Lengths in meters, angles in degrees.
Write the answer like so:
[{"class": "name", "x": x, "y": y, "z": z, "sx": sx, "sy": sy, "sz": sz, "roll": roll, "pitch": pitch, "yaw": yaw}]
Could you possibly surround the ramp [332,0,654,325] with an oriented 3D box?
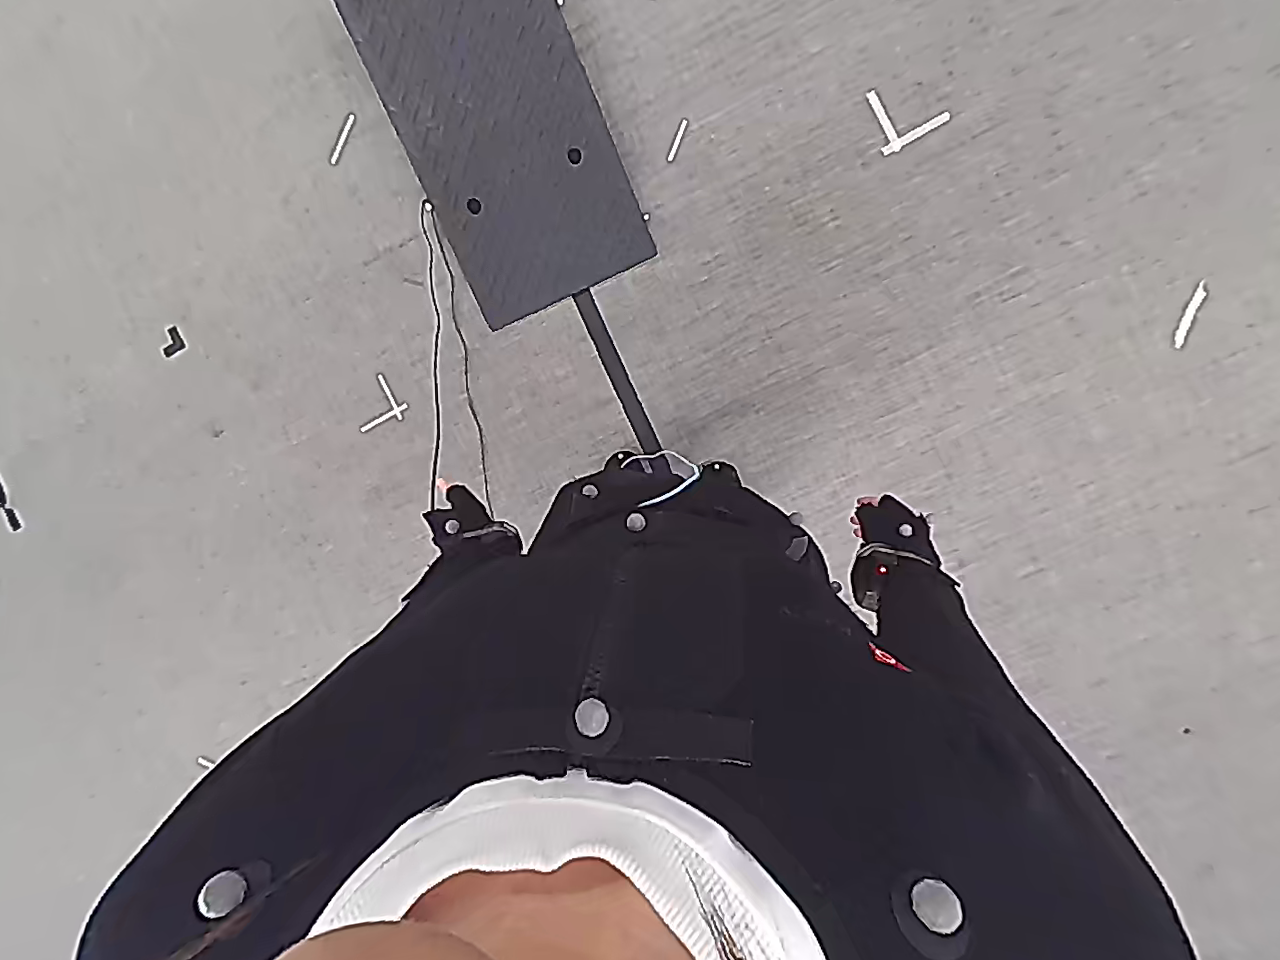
[{"class": "ramp", "x": -0.377, "y": -0.949, "z": 1.324, "sx": 0.509, "sy": 0.206, "sz": 0.991, "roll": -25, "pitch": 92, "yaw": 6}]
